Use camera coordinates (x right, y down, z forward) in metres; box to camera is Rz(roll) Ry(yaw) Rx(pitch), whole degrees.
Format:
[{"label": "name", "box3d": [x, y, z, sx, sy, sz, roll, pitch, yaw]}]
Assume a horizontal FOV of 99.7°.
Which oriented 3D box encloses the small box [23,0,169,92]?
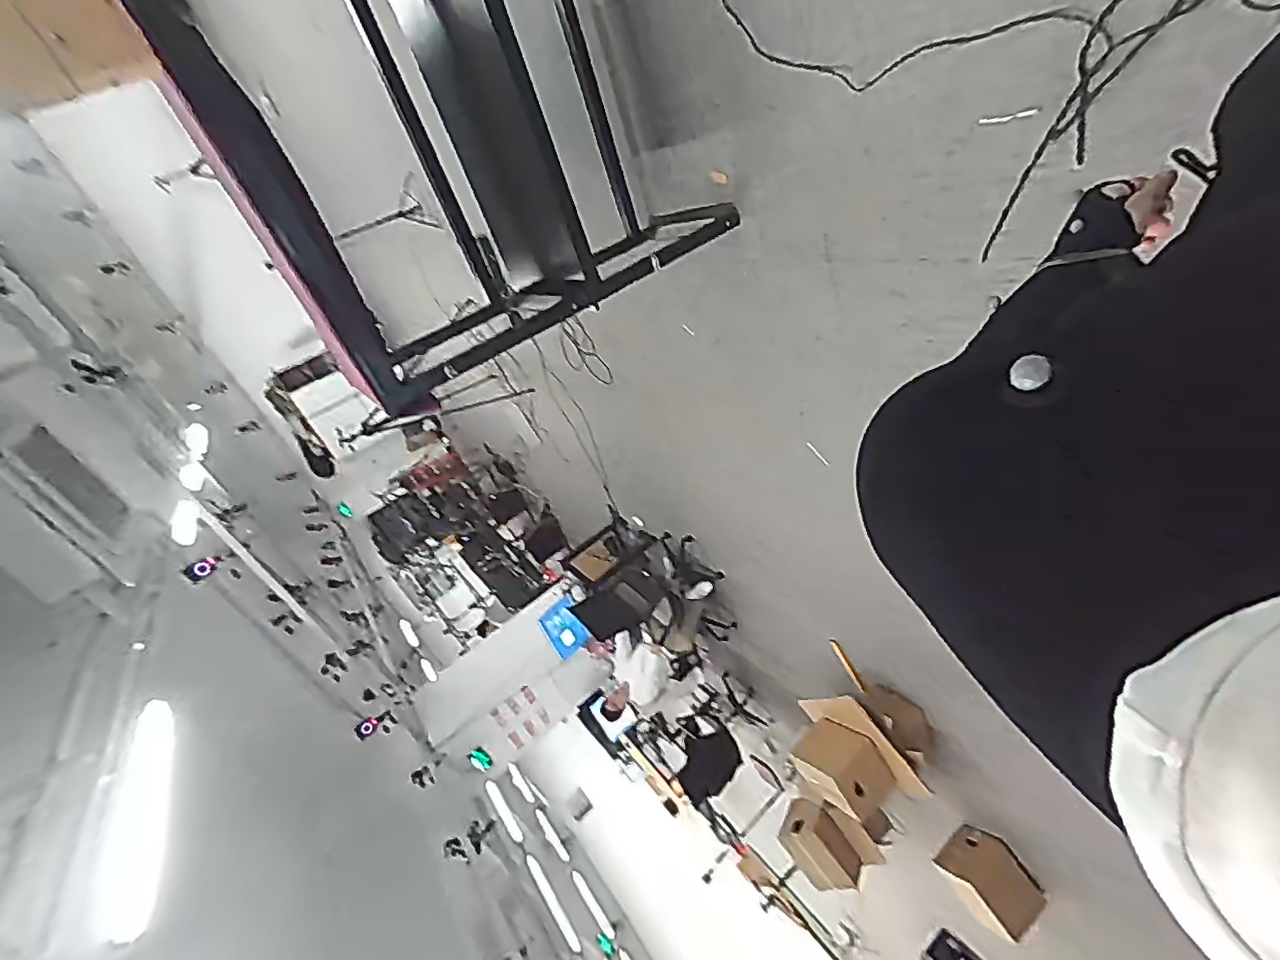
[{"label": "small box", "box3d": [-1.136, -0.944, 1.133, 0.179, 0.176, 0.168, 30, 148, 46]}]
